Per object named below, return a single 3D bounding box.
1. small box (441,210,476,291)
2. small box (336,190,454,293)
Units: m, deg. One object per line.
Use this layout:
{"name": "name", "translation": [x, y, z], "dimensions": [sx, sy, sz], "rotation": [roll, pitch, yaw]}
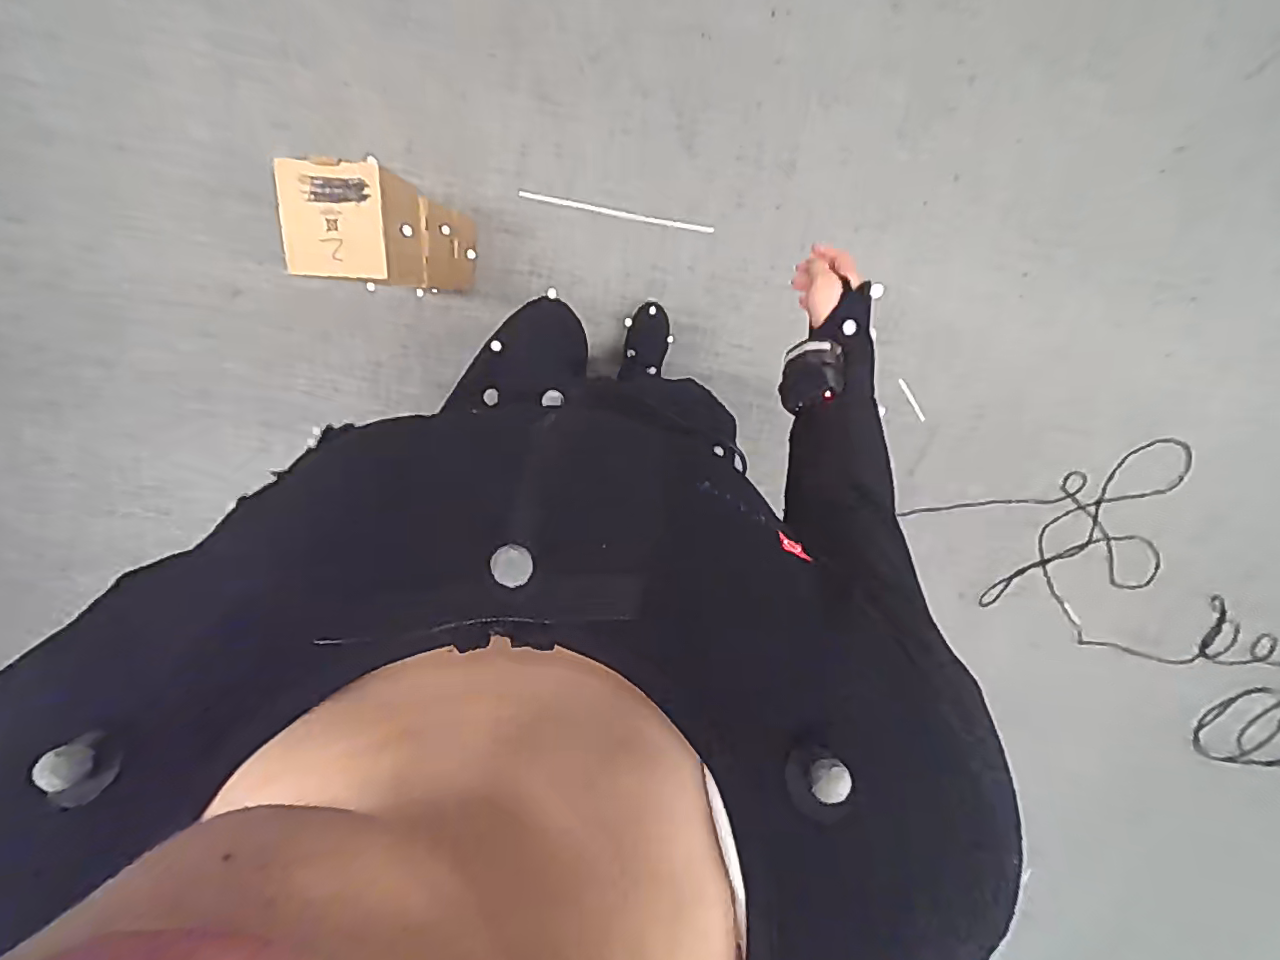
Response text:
{"name": "small box", "translation": [-0.496, -0.542, 1.271], "dimensions": [0.179, 0.176, 0.168], "rotation": [8, 107, -3]}
{"name": "small box", "translation": [-0.496, -0.484, 1.119], "dimensions": [0.179, 0.176, 0.168], "rotation": [6, 106, -1]}
